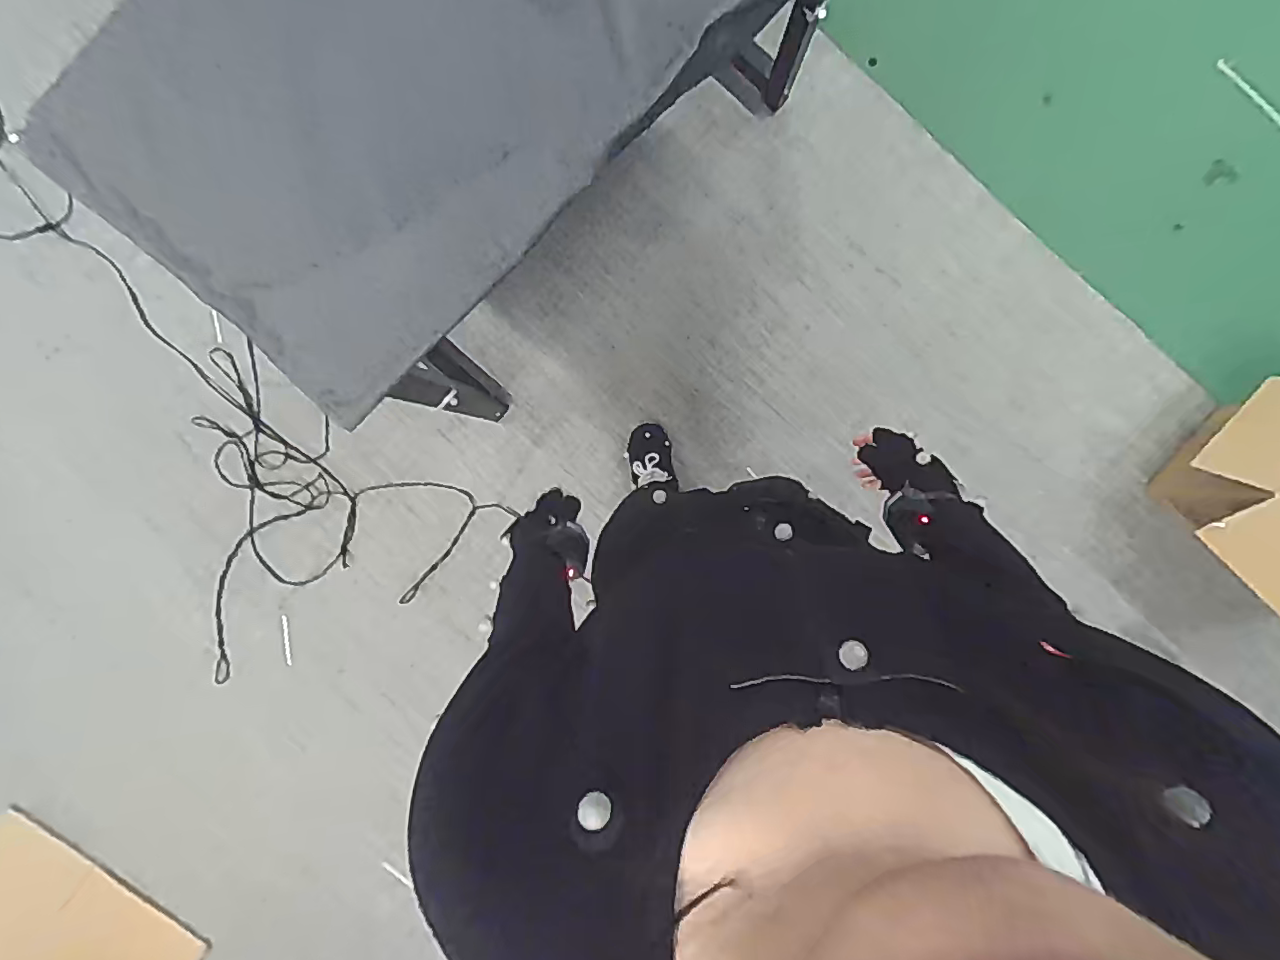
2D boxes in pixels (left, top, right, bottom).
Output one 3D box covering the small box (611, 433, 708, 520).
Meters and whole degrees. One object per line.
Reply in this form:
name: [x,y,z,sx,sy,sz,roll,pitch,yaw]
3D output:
small box: [0.046,-0.014,1.428,0.179,0.176,0.168,34,110,21]
